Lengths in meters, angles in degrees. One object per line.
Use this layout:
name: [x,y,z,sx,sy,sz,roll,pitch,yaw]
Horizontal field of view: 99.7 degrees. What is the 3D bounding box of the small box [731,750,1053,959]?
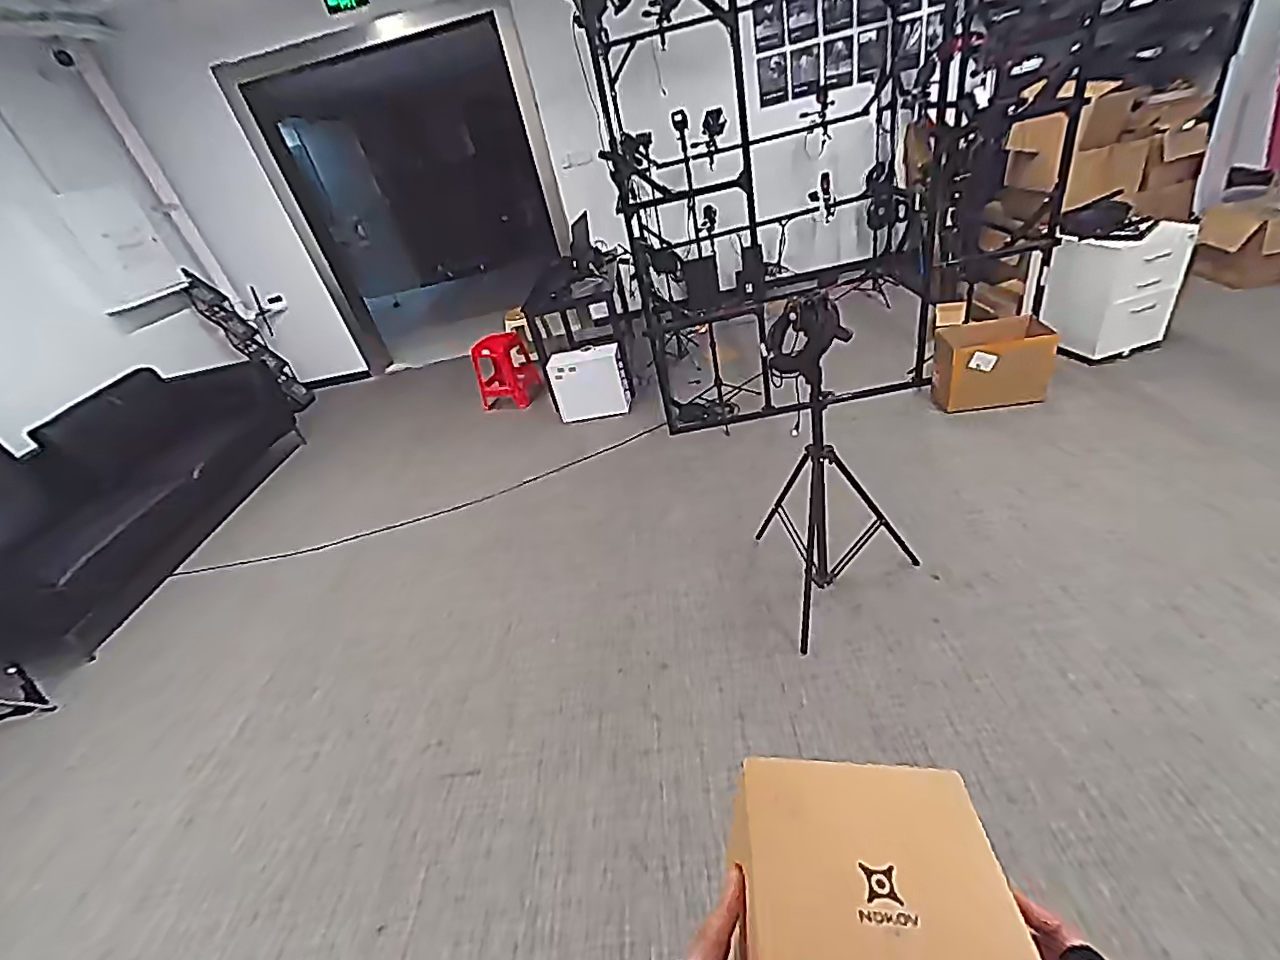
small box: [0.157,0.325,0.378,0.168,0.176,0.179,2,31,4]
